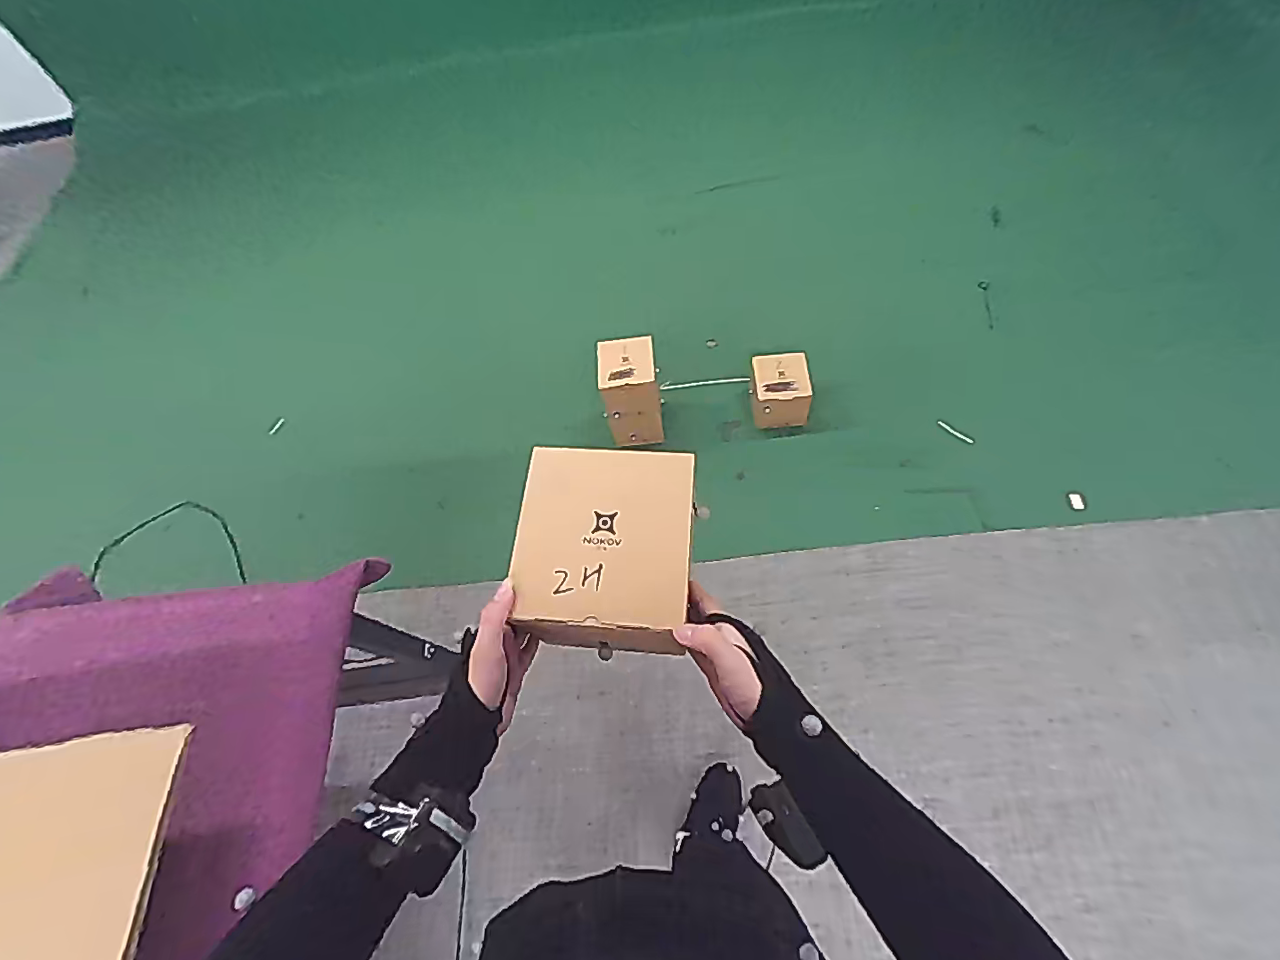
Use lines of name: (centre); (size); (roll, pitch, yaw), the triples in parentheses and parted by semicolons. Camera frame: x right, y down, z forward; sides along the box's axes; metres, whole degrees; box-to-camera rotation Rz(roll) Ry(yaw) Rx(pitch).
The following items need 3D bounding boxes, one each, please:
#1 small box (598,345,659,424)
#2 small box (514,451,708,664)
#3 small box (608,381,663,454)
small box: (-0.033, -0.284, 1.655); (0.168, 0.176, 0.179); (-6, 61, 4)
small box: (-0.018, 0.088, 0.577); (0.168, 0.176, 0.179); (3, 65, 7)
small box: (-0.015, -0.208, 1.798); (0.168, 0.176, 0.179); (-6, 62, 4)
